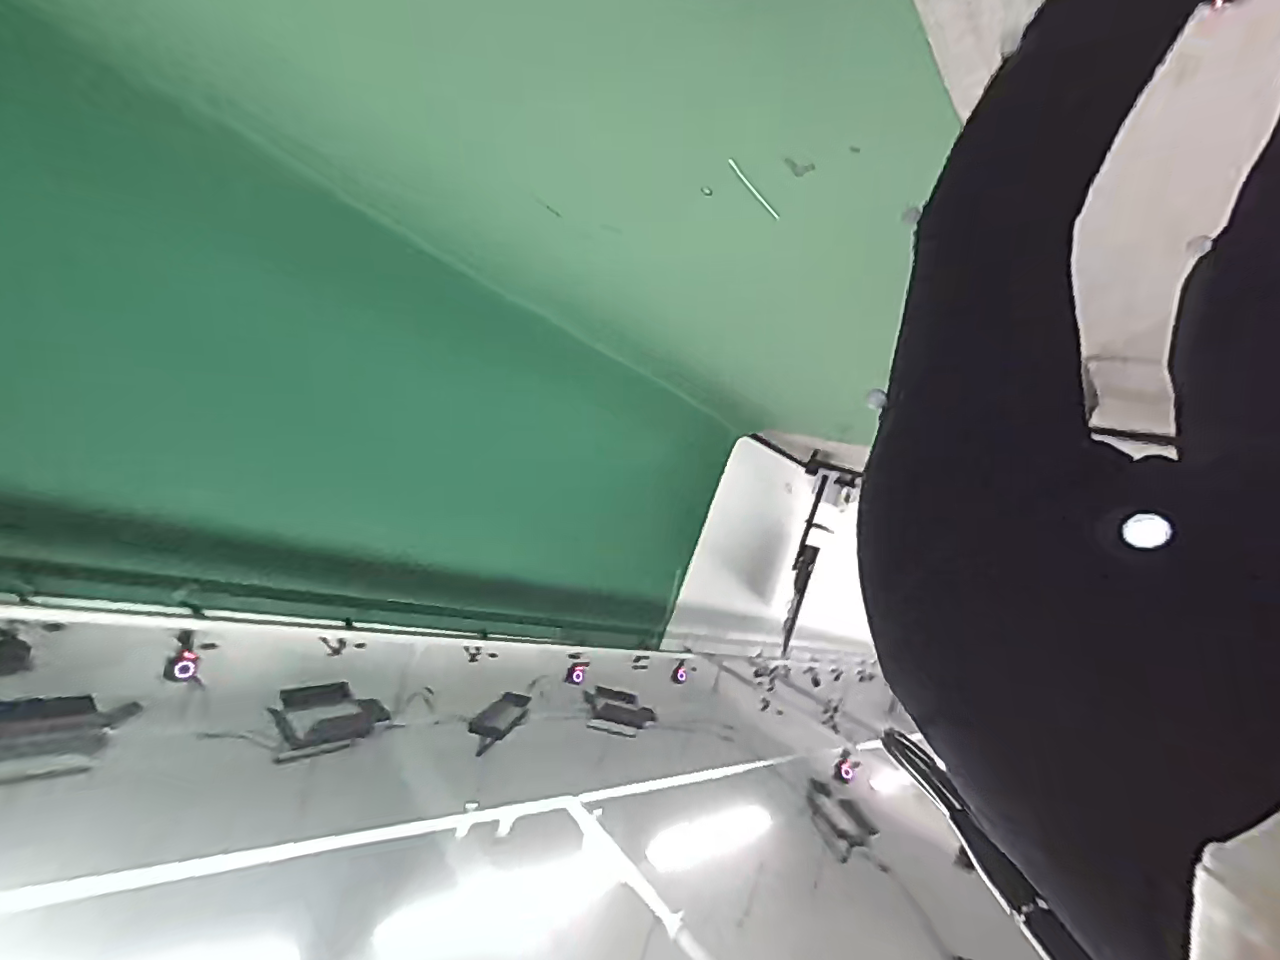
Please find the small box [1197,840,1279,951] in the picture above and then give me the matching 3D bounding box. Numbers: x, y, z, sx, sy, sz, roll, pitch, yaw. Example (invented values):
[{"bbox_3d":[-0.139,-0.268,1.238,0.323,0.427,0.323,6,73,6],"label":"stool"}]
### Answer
[{"bbox_3d":[1.744,1.181,1.541,0.179,0.176,0.168,20,179,44],"label":"small box"}]
